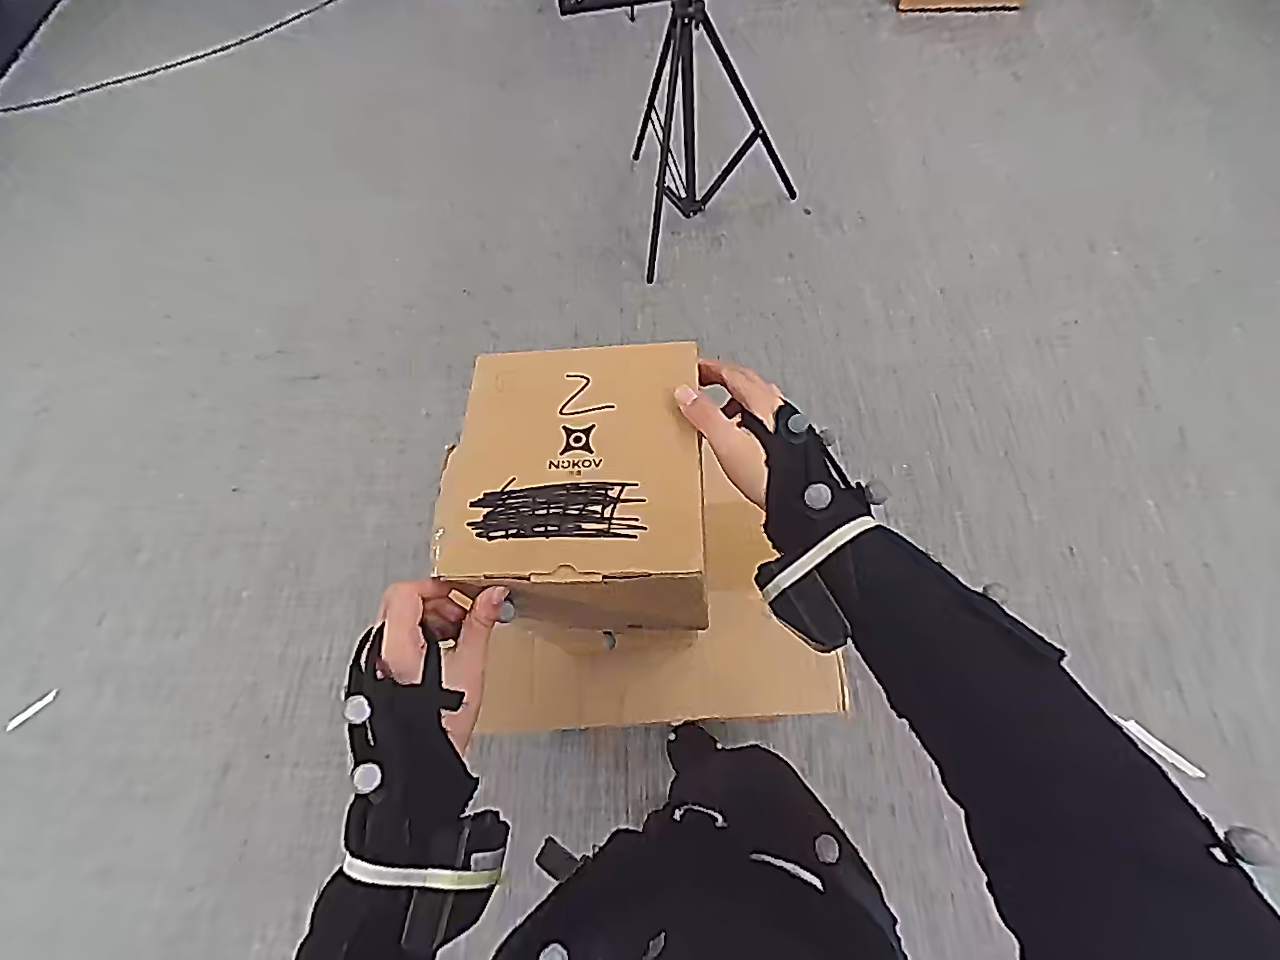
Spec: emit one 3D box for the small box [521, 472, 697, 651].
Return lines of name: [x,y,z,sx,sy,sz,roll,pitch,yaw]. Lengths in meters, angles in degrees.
small box: [-0.027,0.103,0.633,0.179,0.176,0.168,-5,65,5]
